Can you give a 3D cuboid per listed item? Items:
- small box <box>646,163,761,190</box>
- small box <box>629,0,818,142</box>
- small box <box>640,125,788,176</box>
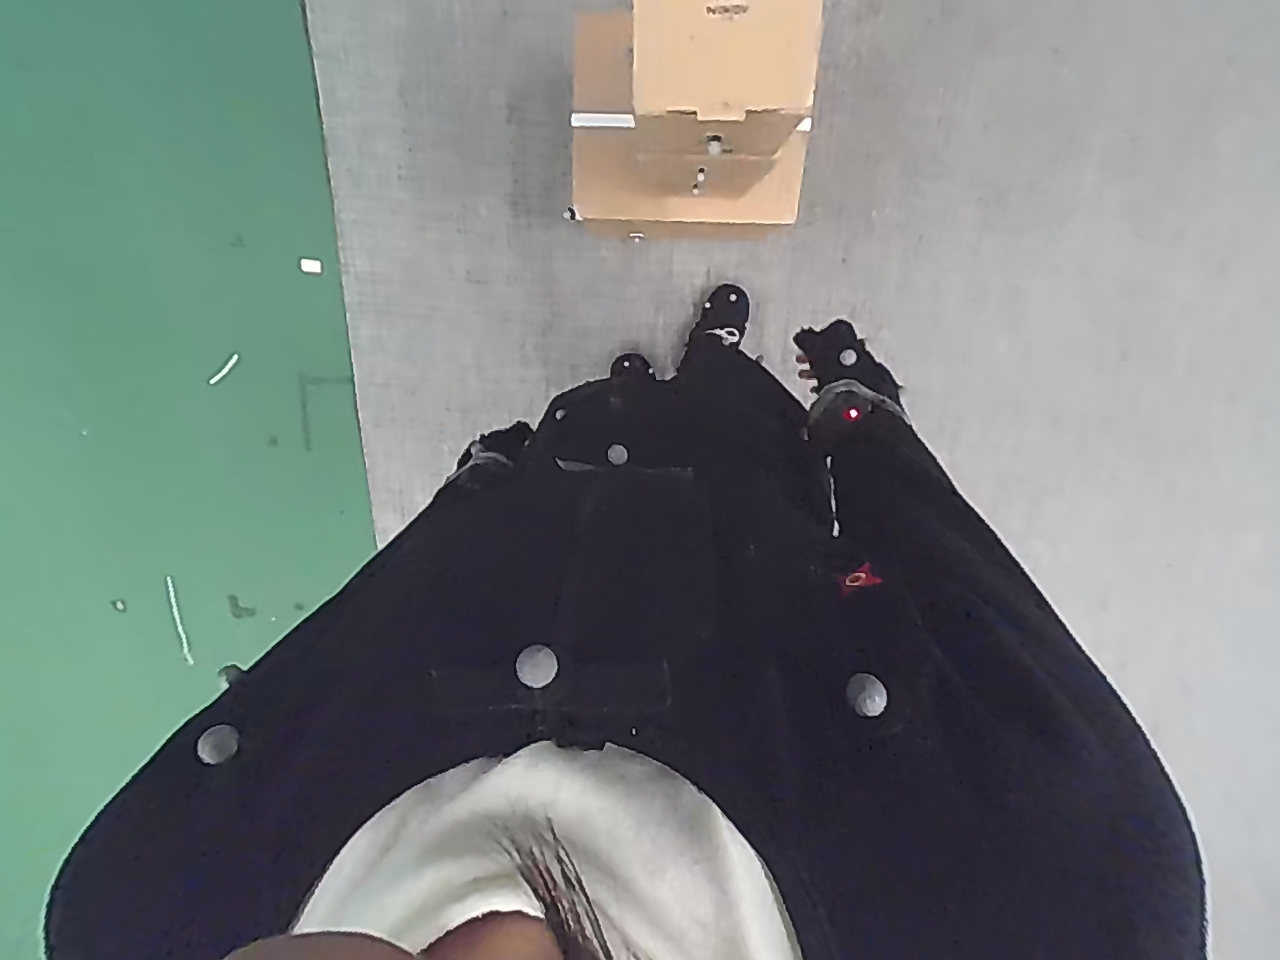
[{"bbox_3d":[0.101,-0.559,0.848,0.179,0.176,0.168,1,110,2],"label":"small box"},{"bbox_3d":[0.080,-0.451,0.539,0.168,0.176,0.179,2,111,5],"label":"small box"},{"bbox_3d":[0.094,-0.499,0.695,0.179,0.176,0.168,3,110,4],"label":"small box"}]
